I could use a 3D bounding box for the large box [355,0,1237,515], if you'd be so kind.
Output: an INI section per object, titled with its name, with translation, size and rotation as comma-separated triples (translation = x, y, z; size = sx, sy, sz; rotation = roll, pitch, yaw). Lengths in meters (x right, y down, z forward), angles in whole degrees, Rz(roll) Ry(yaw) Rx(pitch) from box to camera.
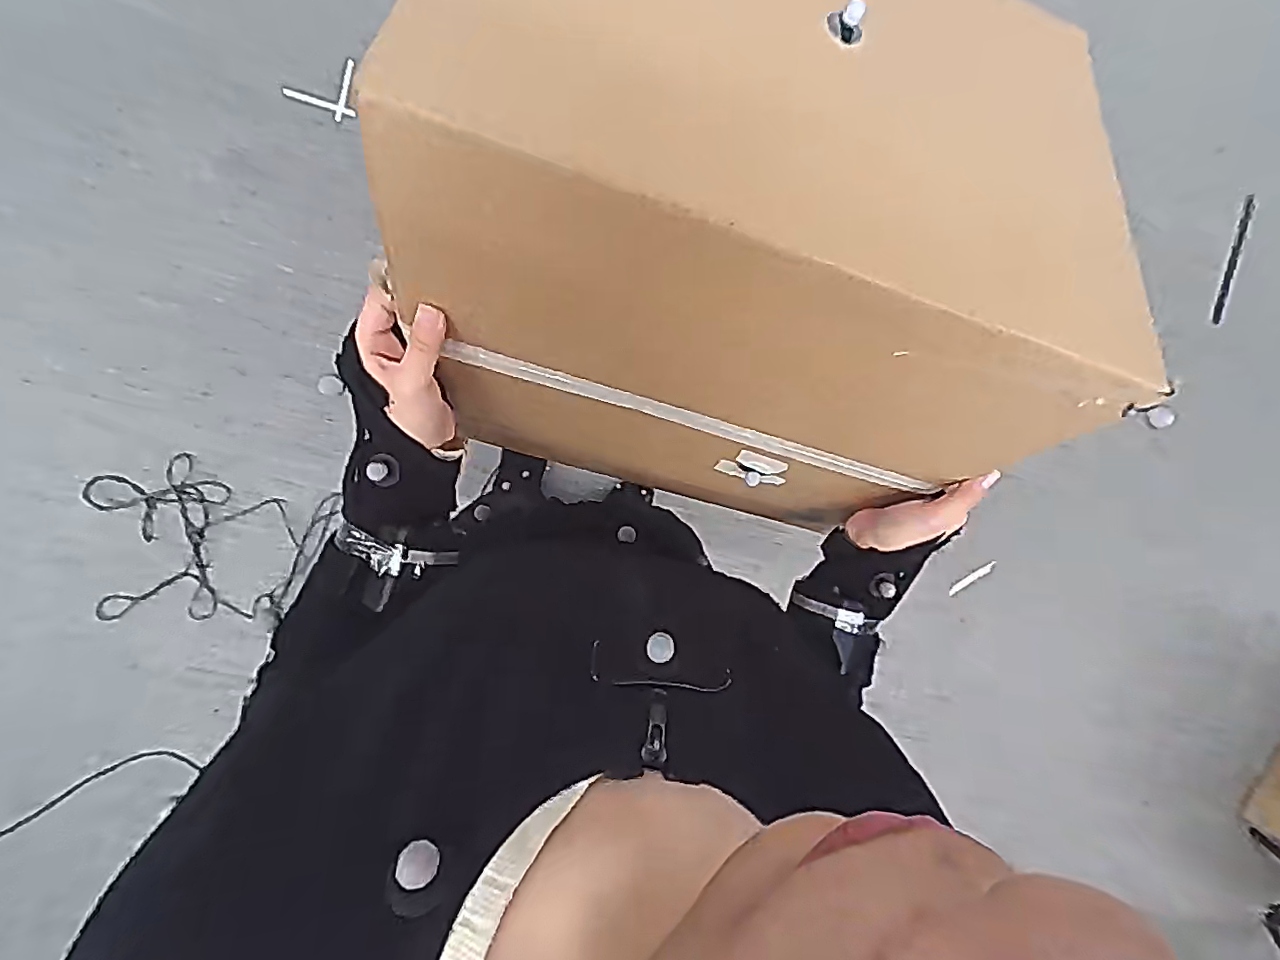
[large box]
translation = 0.074, -0.197, 0.409
size = 0.408, 0.320, 0.320
rotation = 14, 69, -11
